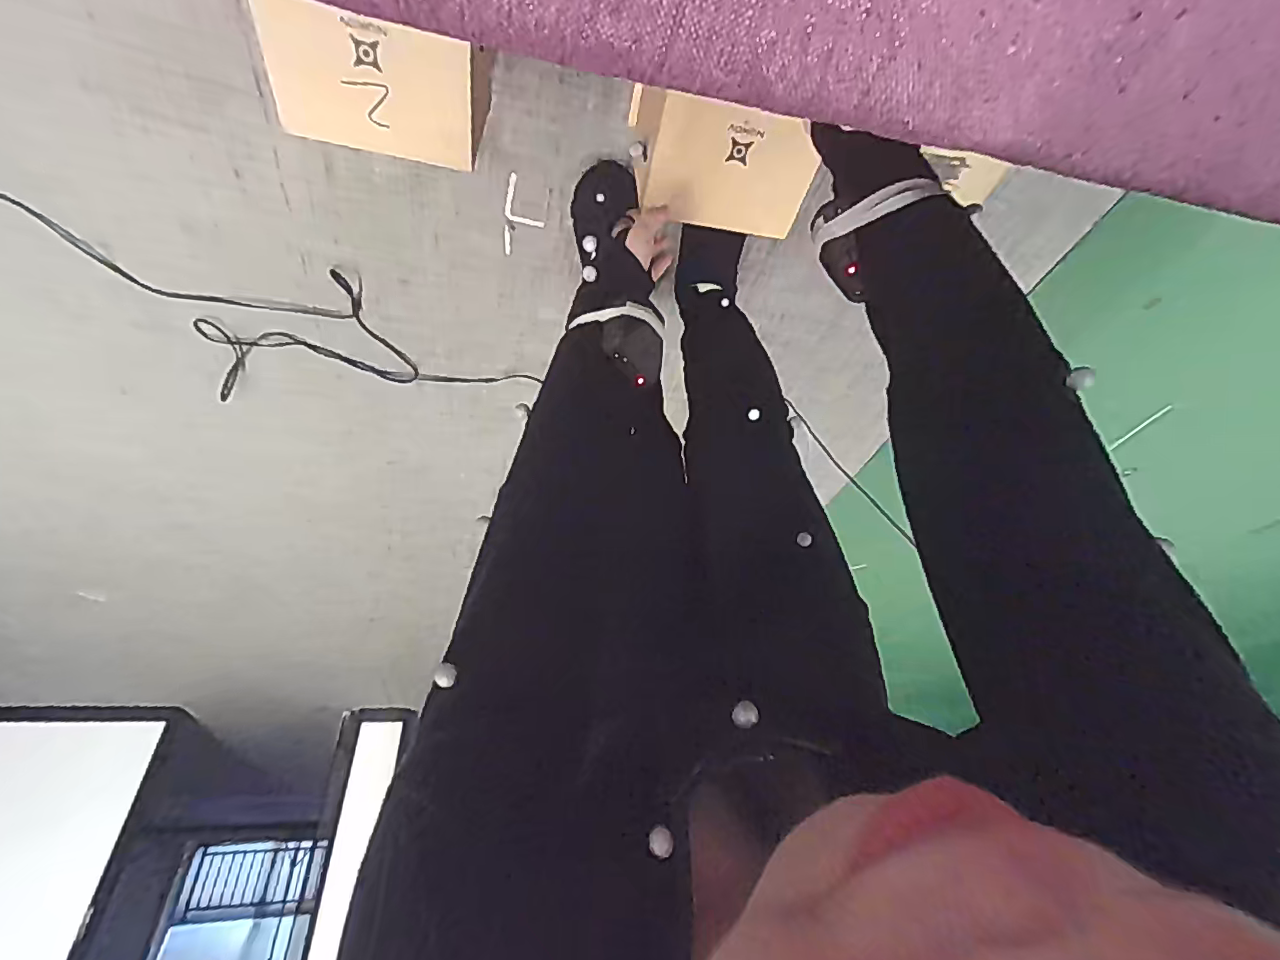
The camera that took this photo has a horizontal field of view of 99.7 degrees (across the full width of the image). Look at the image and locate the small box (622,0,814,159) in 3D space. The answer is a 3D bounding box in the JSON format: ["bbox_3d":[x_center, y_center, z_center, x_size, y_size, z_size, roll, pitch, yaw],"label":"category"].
[{"bbox_3d":[0.077,-0.529,0.655,0.179,0.176,0.168,6,144,-12],"label":"small box"}]
